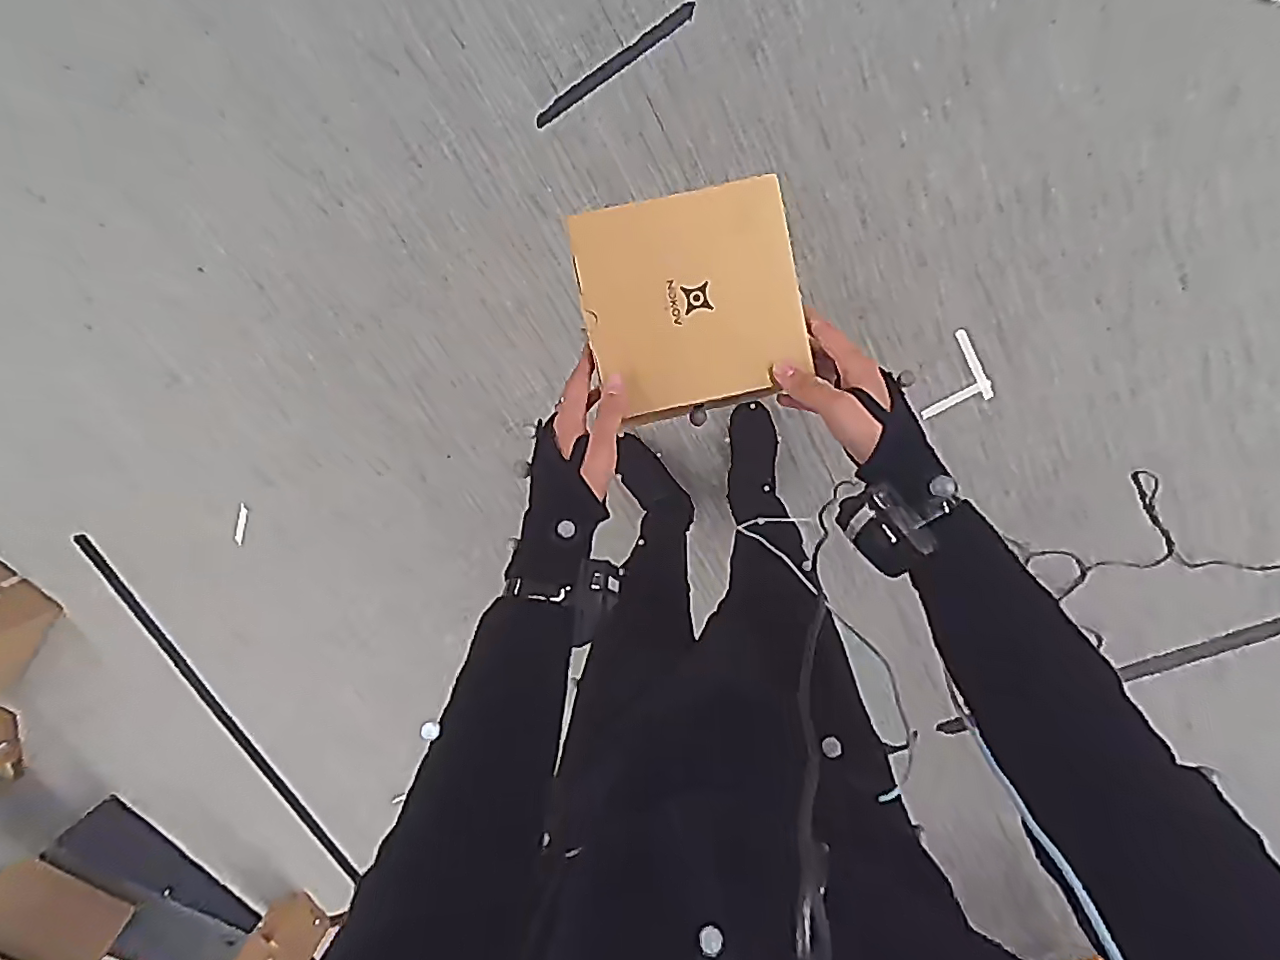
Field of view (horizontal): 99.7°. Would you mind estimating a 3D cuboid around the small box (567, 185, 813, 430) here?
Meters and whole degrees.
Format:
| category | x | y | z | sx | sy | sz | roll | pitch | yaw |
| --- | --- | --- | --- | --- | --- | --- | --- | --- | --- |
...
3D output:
| category | x | y | z | sx | sy | sz | roll | pitch | yaw |
| --- | --- | --- | --- | --- | --- | --- | --- | --- | --- |
| small box | 0.040 | -0.145 | 0.514 | 0.179 | 0.176 | 0.168 | -12 | 94 | 1 |
